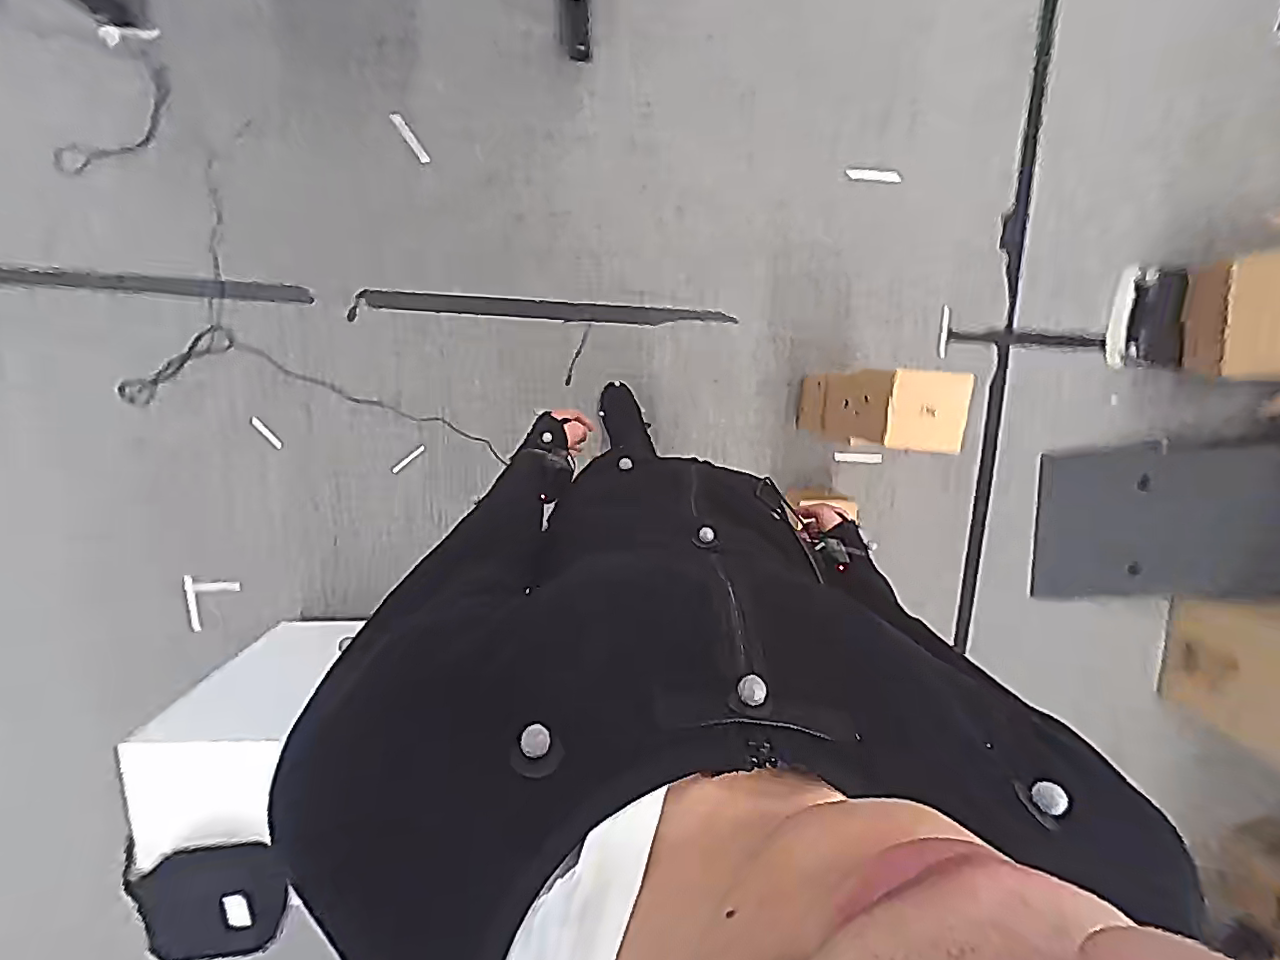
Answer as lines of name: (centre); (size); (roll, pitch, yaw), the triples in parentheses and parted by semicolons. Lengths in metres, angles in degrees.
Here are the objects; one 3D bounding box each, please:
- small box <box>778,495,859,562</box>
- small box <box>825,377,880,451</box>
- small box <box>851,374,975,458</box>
small box: (0.526, 0.140, 1.611); (0.179, 0.176, 0.168); (1, 99, -3)
small box: (0.591, -0.172, 1.385); (0.168, 0.176, 0.179); (2, 102, -4)
small box: (0.609, -0.151, 1.224); (0.179, 0.176, 0.168); (4, 101, -4)
